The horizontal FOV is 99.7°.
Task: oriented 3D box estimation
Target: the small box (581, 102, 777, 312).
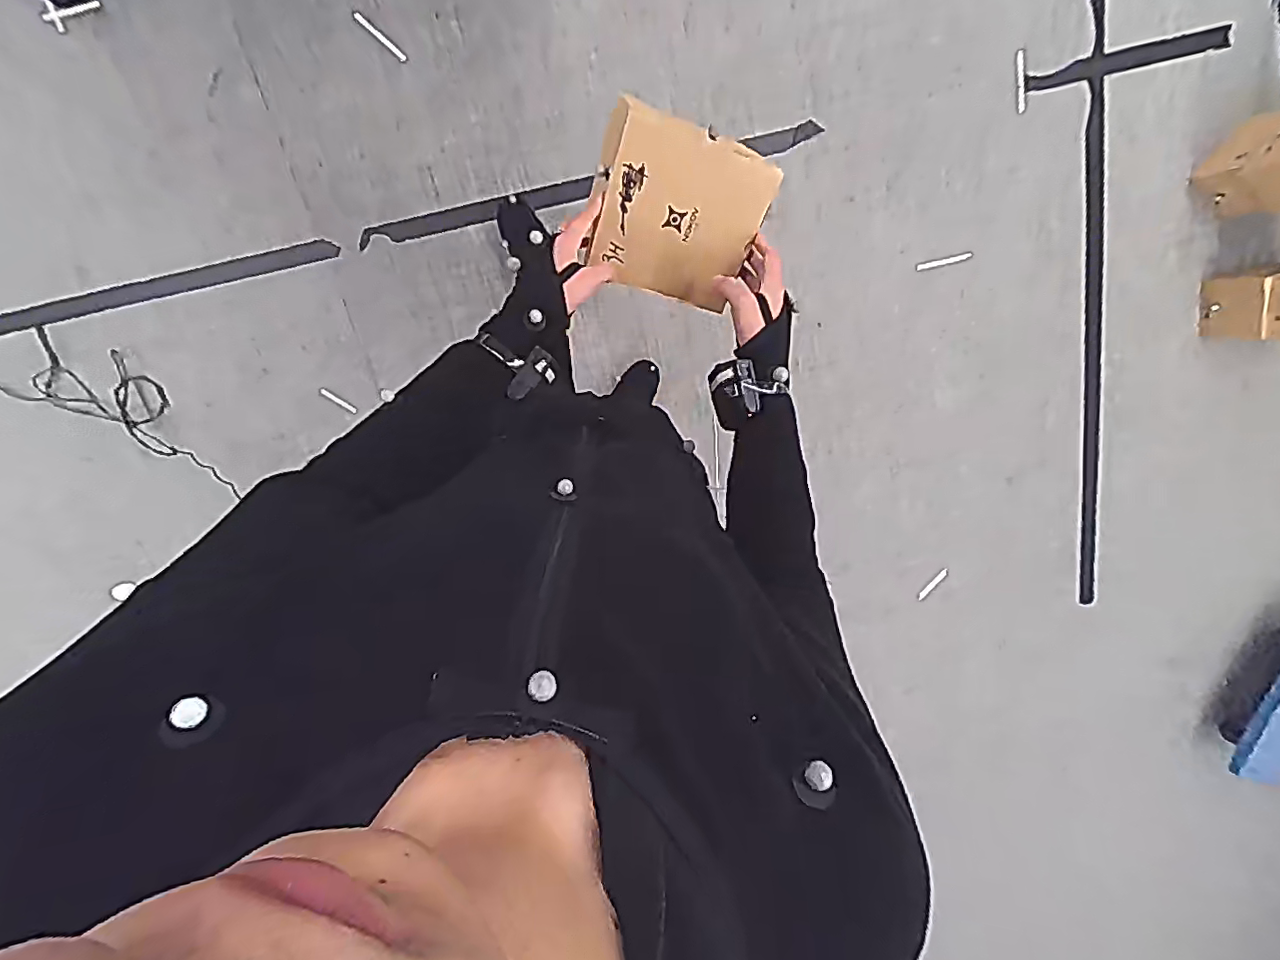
[{"bbox_3d":[0.033,-0.336,0.662,0.179,0.176,0.168,12,127,-17],"label":"small box"}]
